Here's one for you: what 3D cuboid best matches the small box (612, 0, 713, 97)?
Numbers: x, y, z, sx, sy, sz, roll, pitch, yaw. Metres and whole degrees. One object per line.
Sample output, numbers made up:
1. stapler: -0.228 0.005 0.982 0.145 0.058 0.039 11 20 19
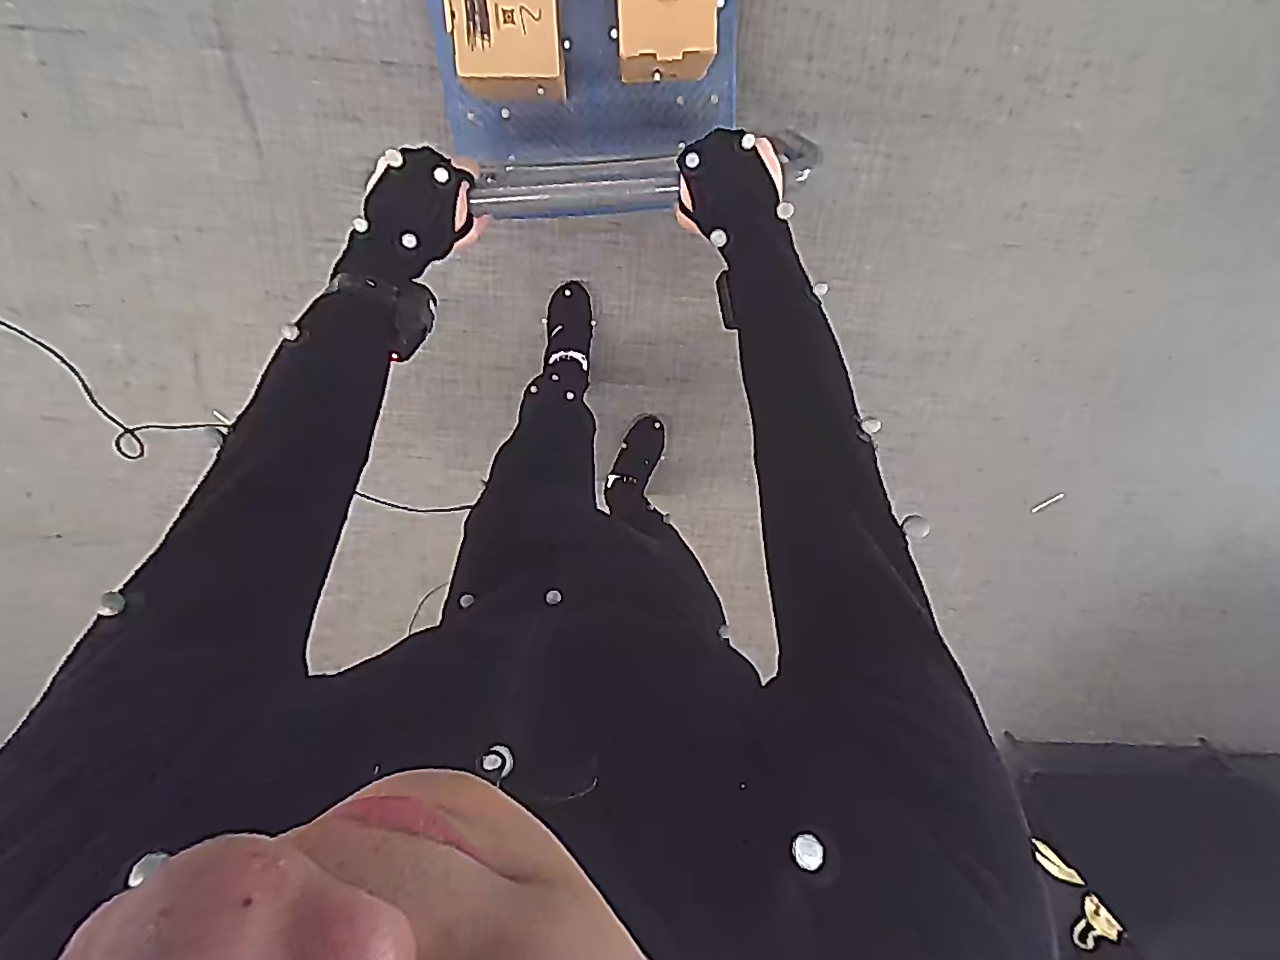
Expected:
1. small box: 0.037 -0.827 0.985 0.168 0.176 0.179 -4 114 -1
